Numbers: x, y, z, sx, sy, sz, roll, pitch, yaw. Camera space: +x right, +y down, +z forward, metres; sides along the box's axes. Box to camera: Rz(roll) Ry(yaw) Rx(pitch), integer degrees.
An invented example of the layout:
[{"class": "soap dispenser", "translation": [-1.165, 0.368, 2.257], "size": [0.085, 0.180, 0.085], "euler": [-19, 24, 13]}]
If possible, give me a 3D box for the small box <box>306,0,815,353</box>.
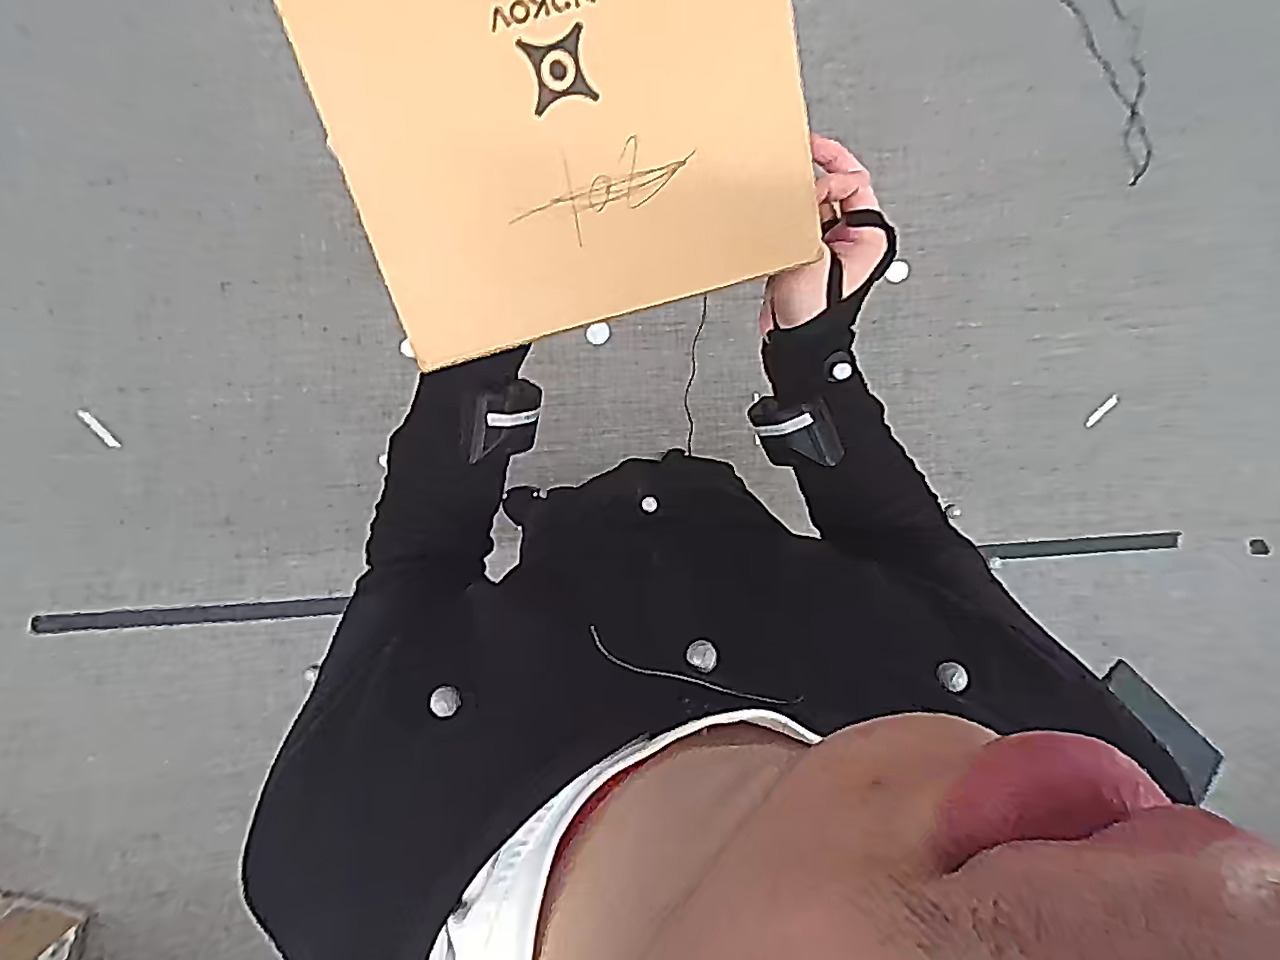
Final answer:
[{"class": "small box", "translation": [-0.033, -0.176, 0.272], "size": [0.168, 0.176, 0.179], "euler": [-15, 110, 1]}]
